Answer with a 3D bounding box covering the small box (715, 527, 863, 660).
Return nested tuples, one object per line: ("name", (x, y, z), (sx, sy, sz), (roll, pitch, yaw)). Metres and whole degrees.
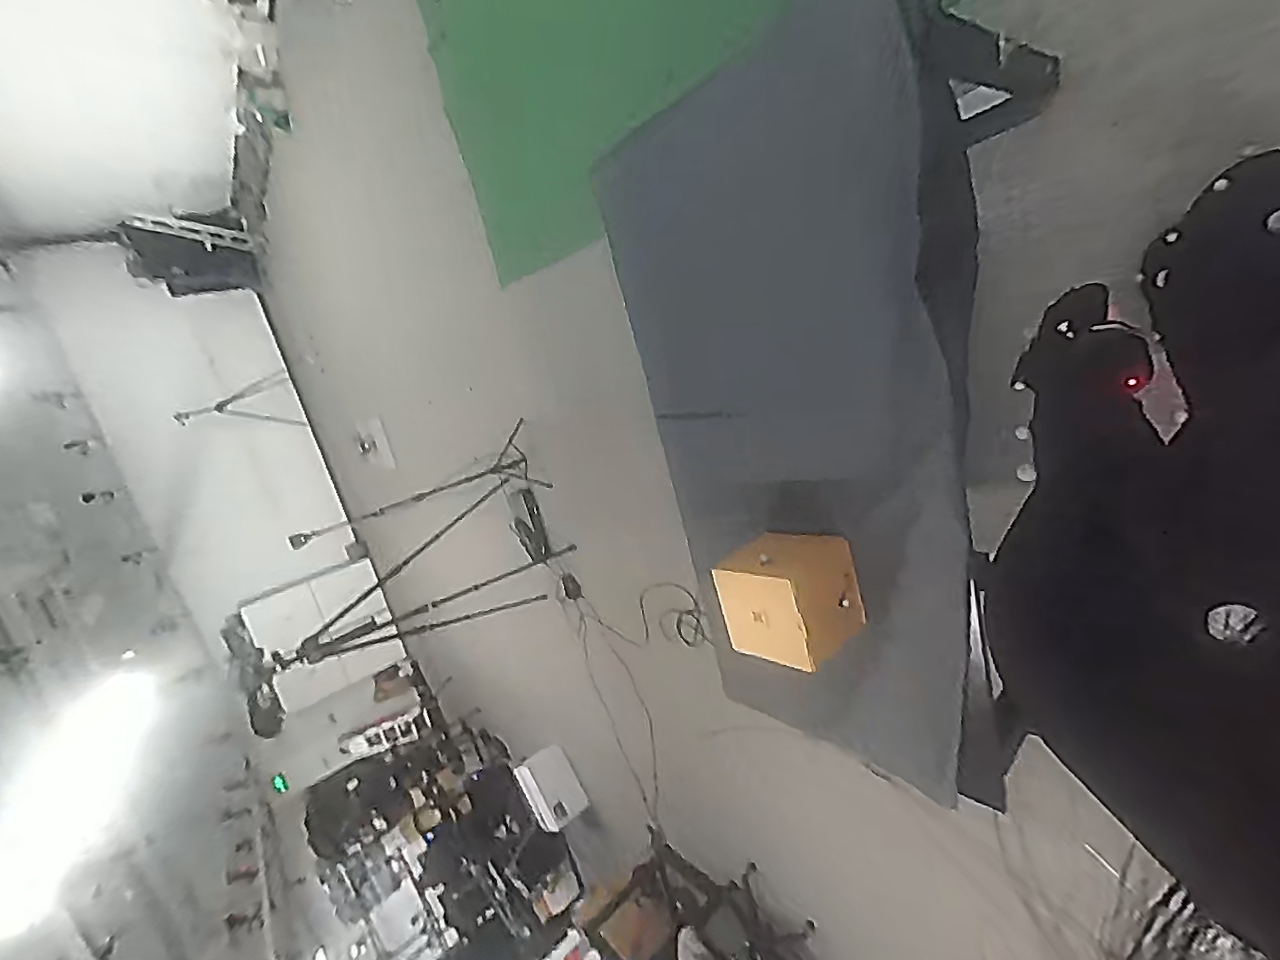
("small box", (0.268, 0.190, 0.970), (0.179, 0.176, 0.168), (-3, 106, 52))
